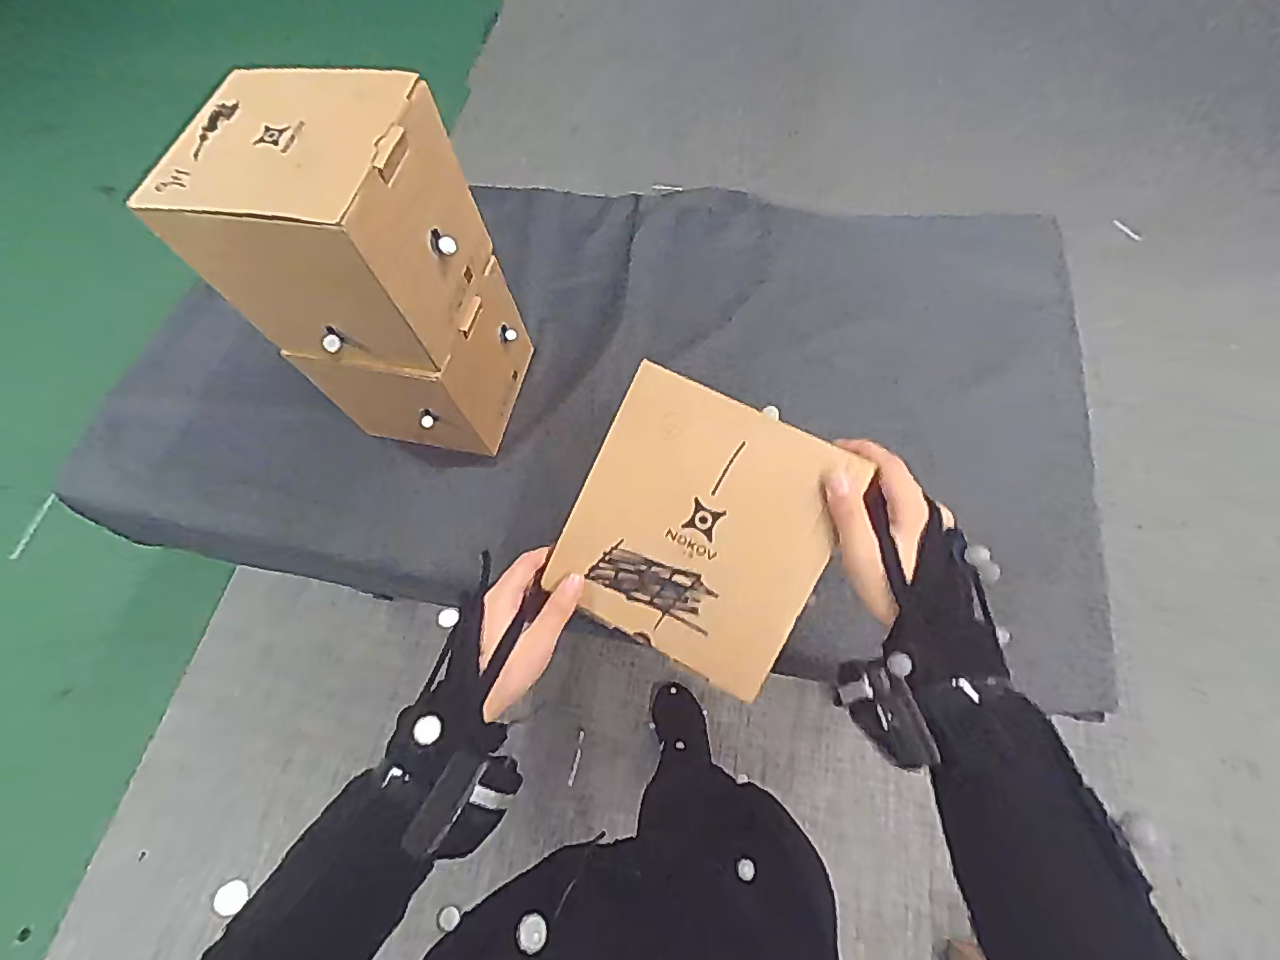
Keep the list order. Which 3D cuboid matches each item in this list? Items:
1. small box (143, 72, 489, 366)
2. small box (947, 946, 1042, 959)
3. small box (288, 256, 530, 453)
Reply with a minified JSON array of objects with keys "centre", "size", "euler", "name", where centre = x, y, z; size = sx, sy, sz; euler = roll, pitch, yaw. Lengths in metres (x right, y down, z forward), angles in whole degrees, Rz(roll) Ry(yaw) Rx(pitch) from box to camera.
[{"centre":[-0.258,-0.222,0.486],"size":[0.179,0.176,0.168],"euler":[9,66,8],"name":"small box"},{"centre":[0.637,0.901,0.882],"size":[0.179,0.176,0.168],"euler":[4,65,7],"name":"small box"},{"centre":[-0.247,-0.146,0.631],"size":[0.179,0.176,0.168],"euler":[9,65,10],"name":"small box"}]
